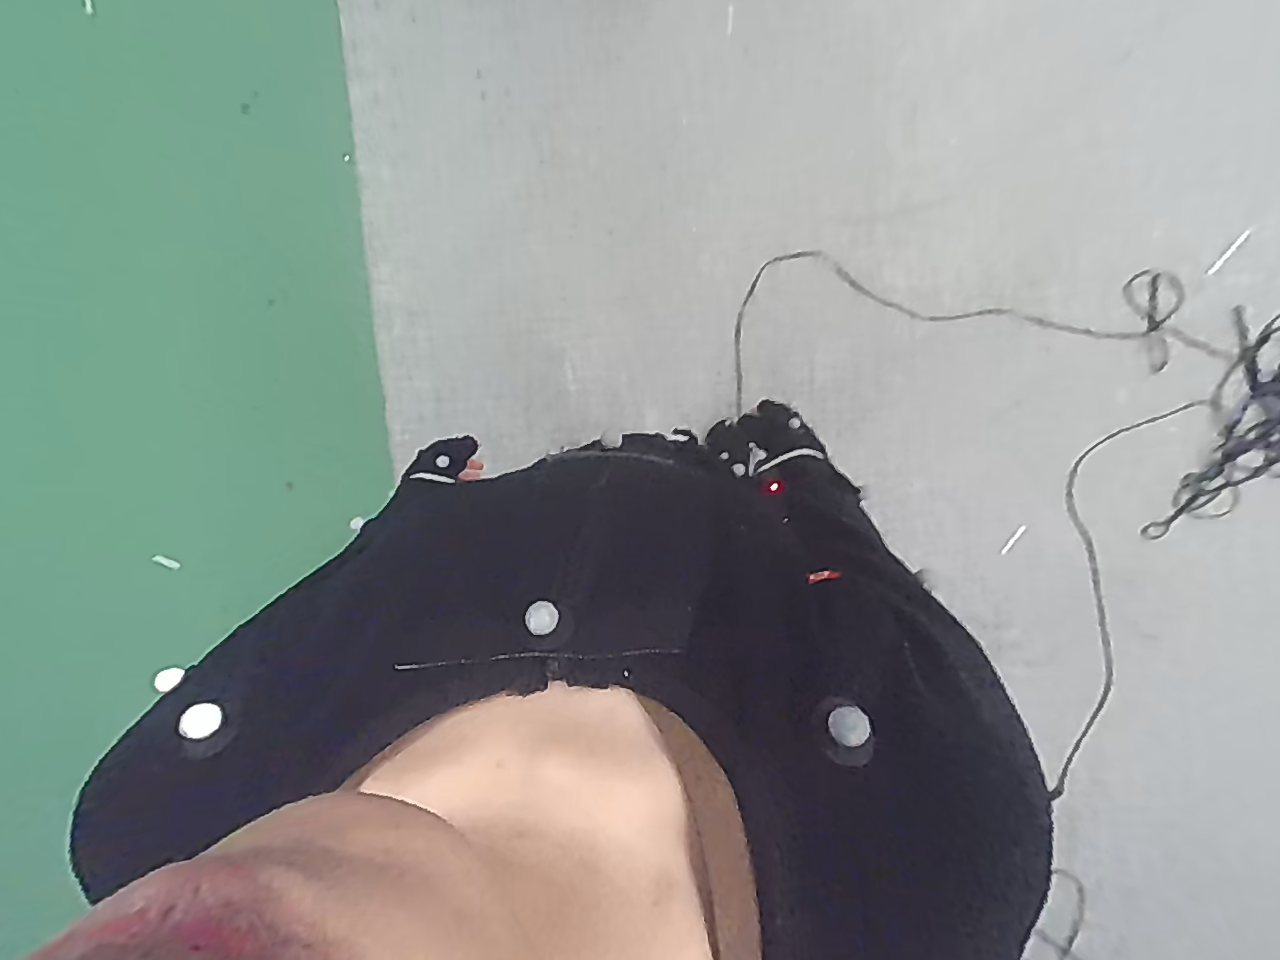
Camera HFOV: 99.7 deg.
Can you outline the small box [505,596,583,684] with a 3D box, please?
[{"bbox_3d":[-0.247,0.419,1.433,0.168,0.176,0.179,-5,94,2],"label":"small box"}]
